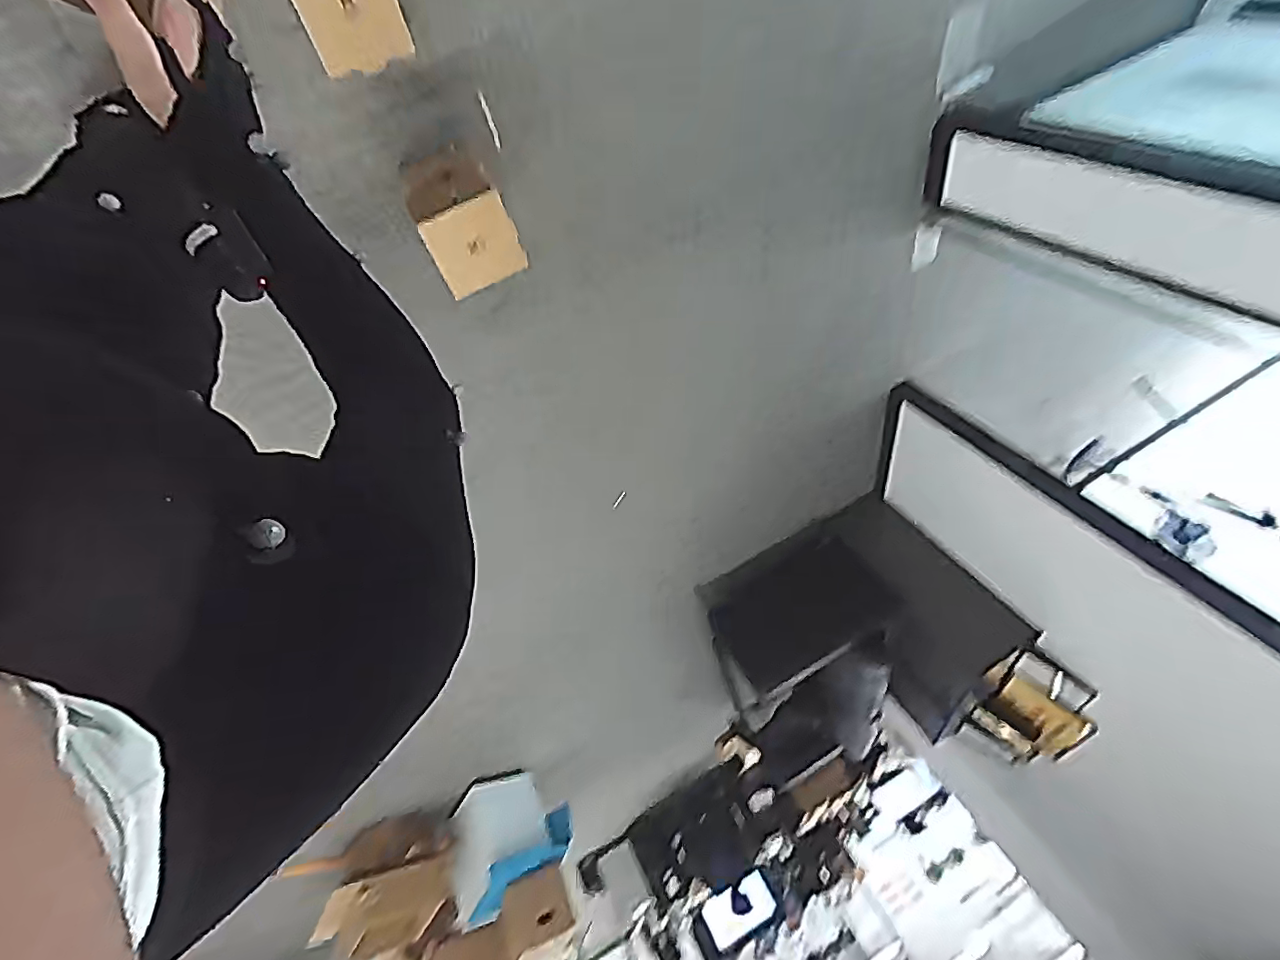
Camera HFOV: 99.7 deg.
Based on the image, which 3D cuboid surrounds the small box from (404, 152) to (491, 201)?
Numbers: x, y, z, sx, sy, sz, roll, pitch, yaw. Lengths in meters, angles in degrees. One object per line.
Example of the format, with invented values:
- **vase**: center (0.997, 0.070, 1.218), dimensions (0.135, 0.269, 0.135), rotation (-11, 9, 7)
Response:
- **small box**: center (-0.425, -0.639, 1.259), dimensions (0.168, 0.176, 0.179), rotation (-27, 139, -10)

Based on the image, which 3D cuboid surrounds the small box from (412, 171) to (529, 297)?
- **small box**: center (-0.366, -0.528, 1.156), dimensions (0.179, 0.176, 0.168), rotation (-30, 139, -7)

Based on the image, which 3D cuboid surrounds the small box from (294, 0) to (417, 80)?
- **small box**: center (-0.530, -0.862, 0.979), dimensions (0.168, 0.176, 0.179), rotation (-26, 139, -11)
